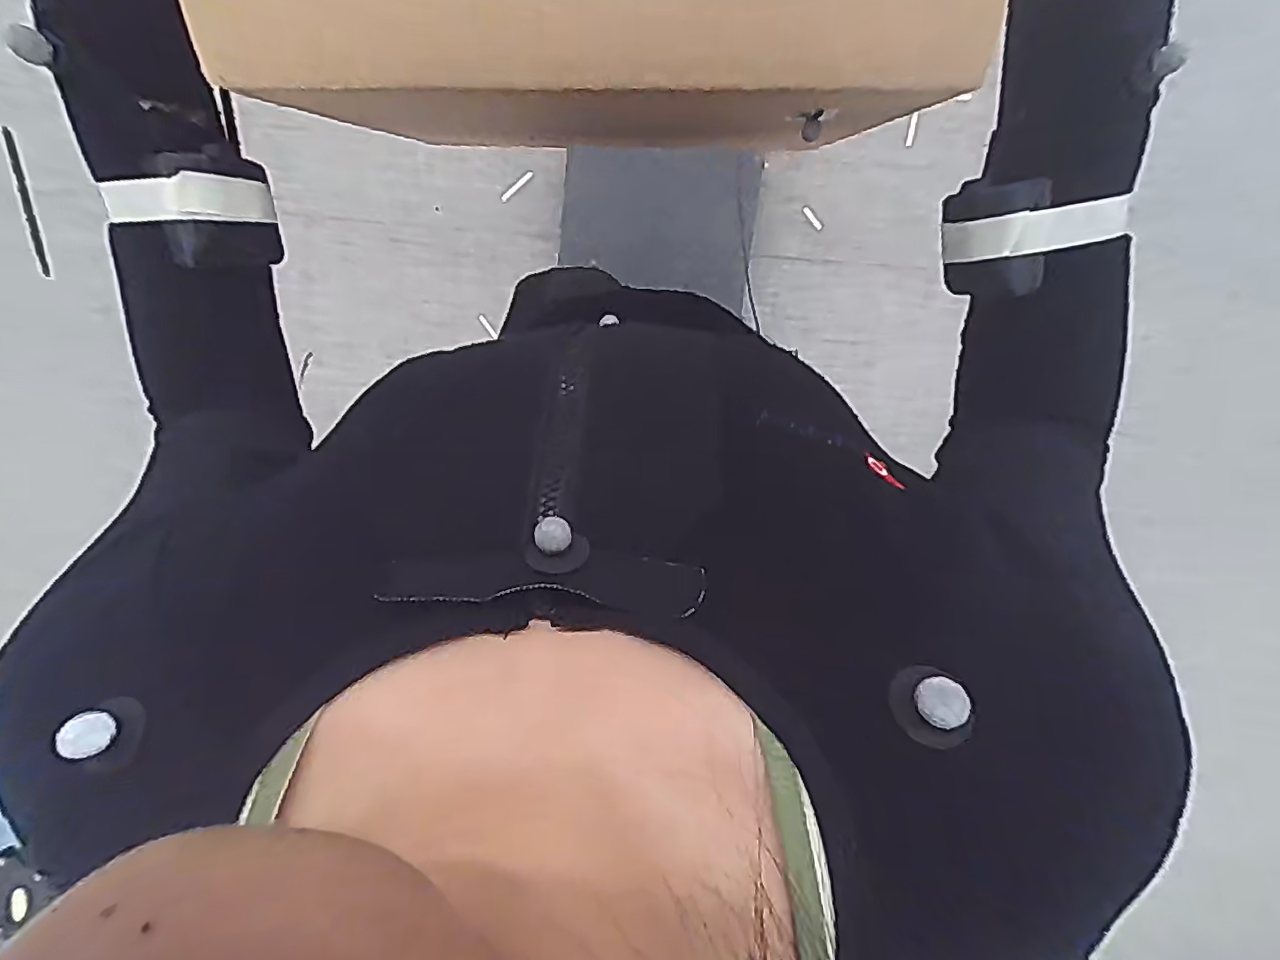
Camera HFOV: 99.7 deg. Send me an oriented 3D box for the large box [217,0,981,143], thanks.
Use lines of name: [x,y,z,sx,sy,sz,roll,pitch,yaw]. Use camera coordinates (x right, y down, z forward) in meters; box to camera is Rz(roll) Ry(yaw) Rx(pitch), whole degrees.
large box: [-0.019,-0.417,0.359,0.408,0.320,0.320,1,116,1]
